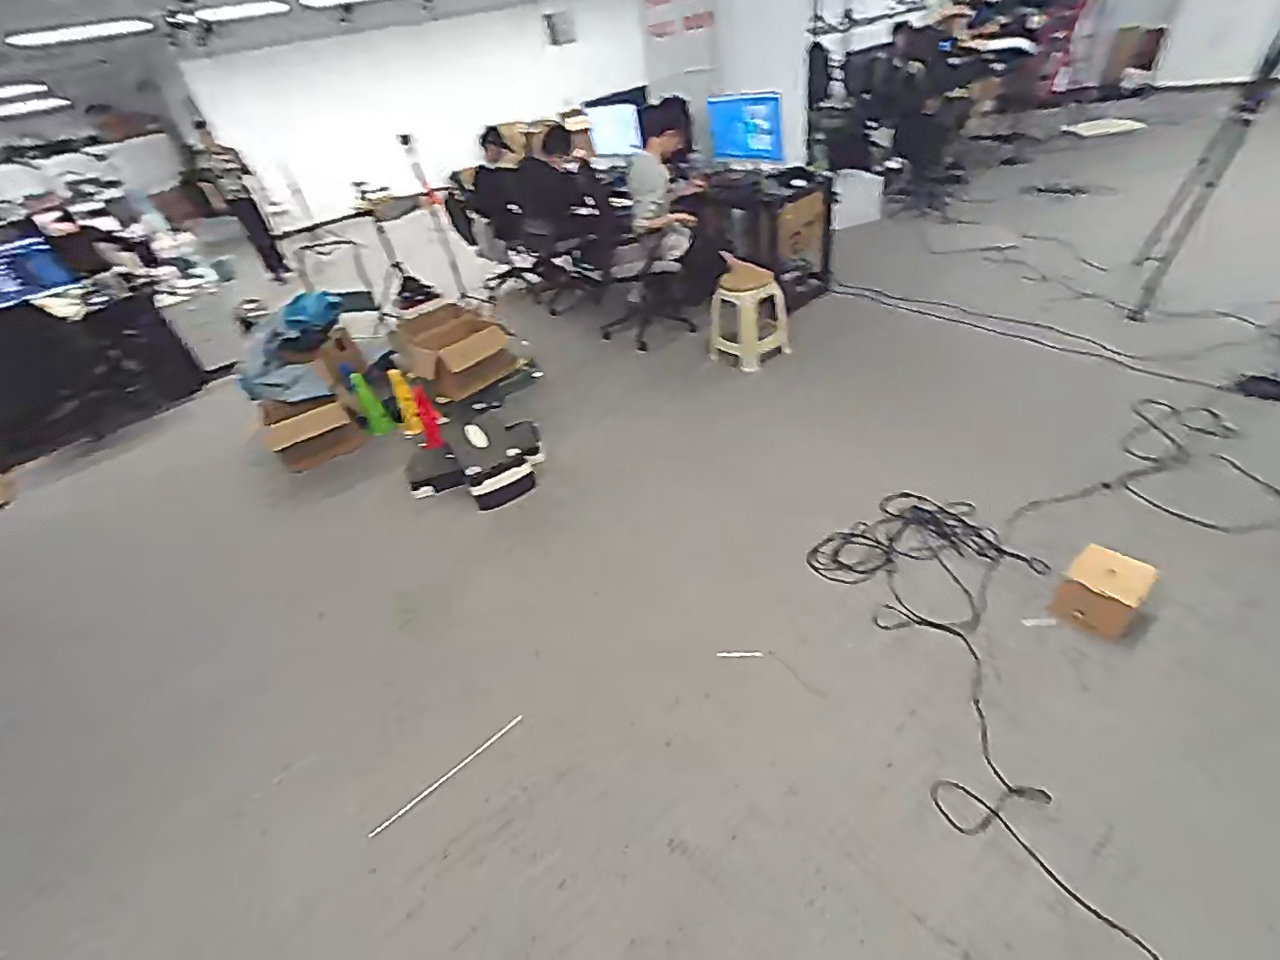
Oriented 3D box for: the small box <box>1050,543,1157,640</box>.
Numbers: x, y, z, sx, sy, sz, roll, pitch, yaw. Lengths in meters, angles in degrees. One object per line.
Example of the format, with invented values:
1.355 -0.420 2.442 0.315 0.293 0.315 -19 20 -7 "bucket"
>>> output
1.324 0.320 1.555 0.179 0.176 0.168 -34 42 -24 "small box"
